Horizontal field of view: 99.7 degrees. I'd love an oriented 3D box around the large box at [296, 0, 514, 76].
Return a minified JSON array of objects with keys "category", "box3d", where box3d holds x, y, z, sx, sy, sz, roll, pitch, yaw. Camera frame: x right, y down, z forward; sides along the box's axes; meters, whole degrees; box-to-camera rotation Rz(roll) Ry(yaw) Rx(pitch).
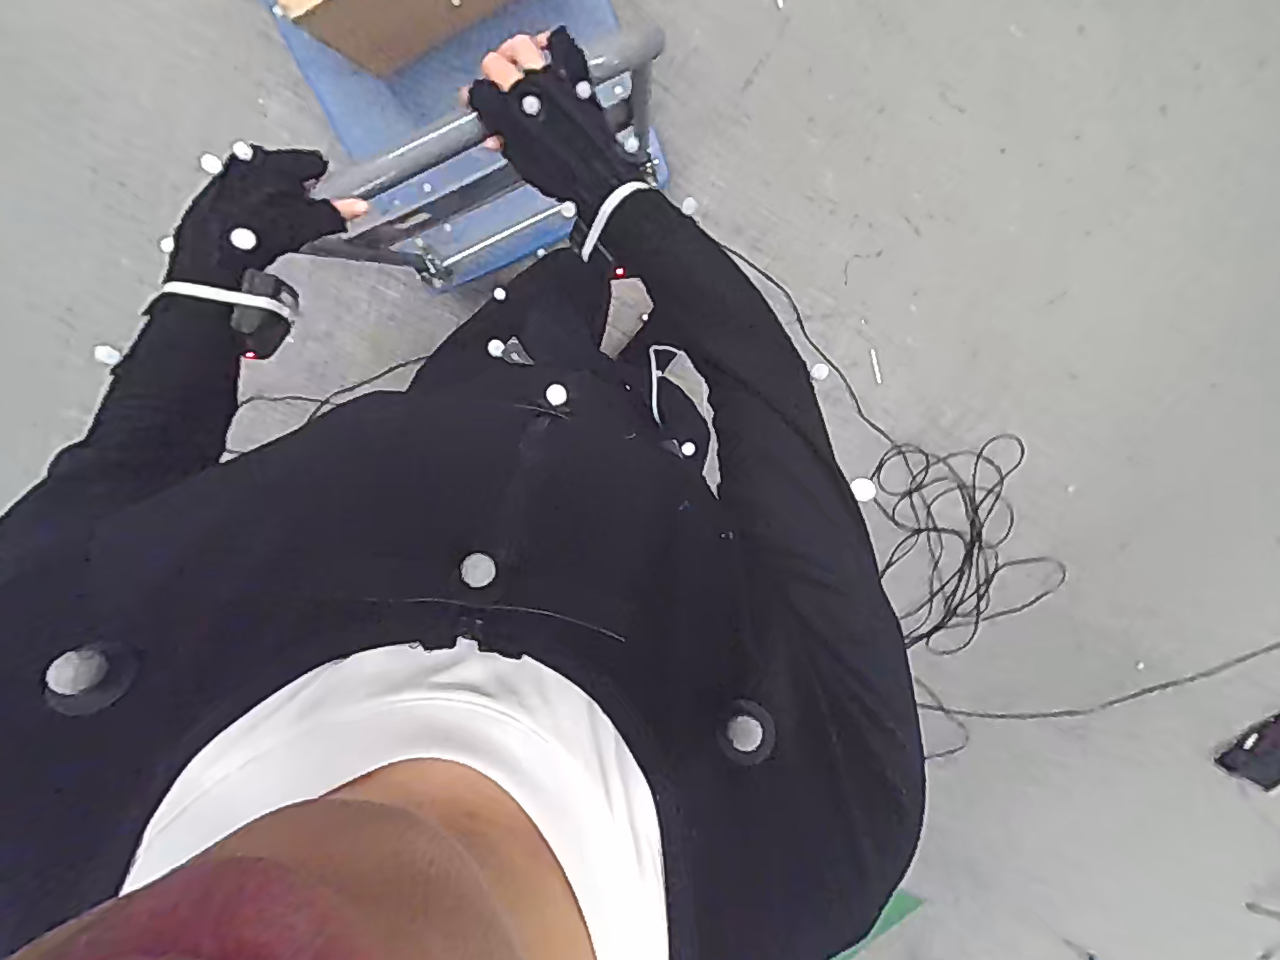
[{"category":"large box","box3d":[-0.348,-0.898,0.796,0.408,0.320,0.320,-24,112,10]}]
